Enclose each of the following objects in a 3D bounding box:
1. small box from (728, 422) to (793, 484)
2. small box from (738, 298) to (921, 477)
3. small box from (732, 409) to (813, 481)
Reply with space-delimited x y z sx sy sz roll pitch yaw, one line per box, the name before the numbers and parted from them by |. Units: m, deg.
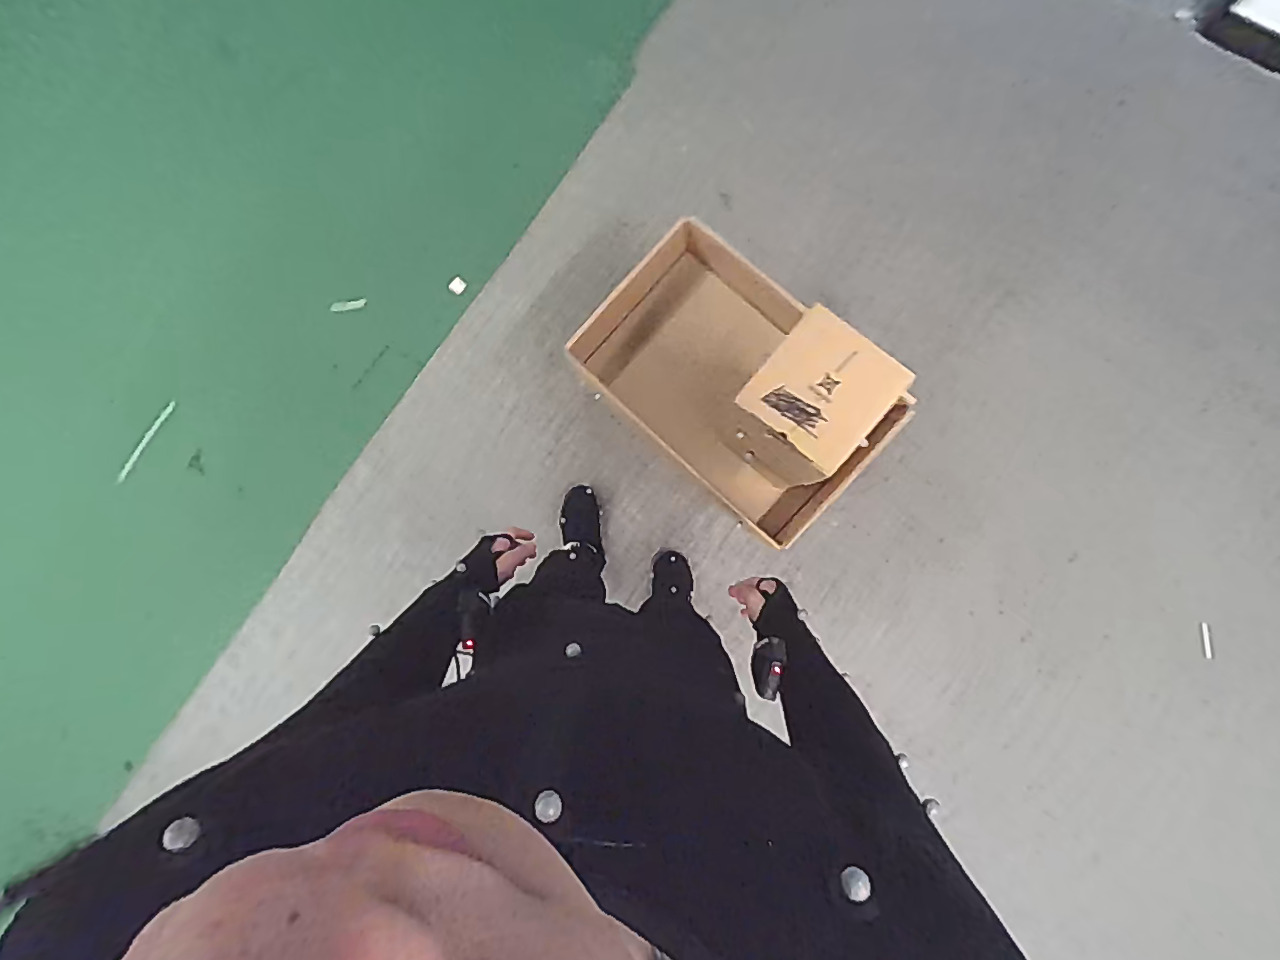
small box | 0.296 -0.109 1.111 0.168 0.176 0.179 41 91 7
small box | 0.258 -0.120 0.787 0.168 0.176 0.179 41 90 7
small box | 0.276 -0.115 0.950 0.168 0.176 0.179 41 92 6
